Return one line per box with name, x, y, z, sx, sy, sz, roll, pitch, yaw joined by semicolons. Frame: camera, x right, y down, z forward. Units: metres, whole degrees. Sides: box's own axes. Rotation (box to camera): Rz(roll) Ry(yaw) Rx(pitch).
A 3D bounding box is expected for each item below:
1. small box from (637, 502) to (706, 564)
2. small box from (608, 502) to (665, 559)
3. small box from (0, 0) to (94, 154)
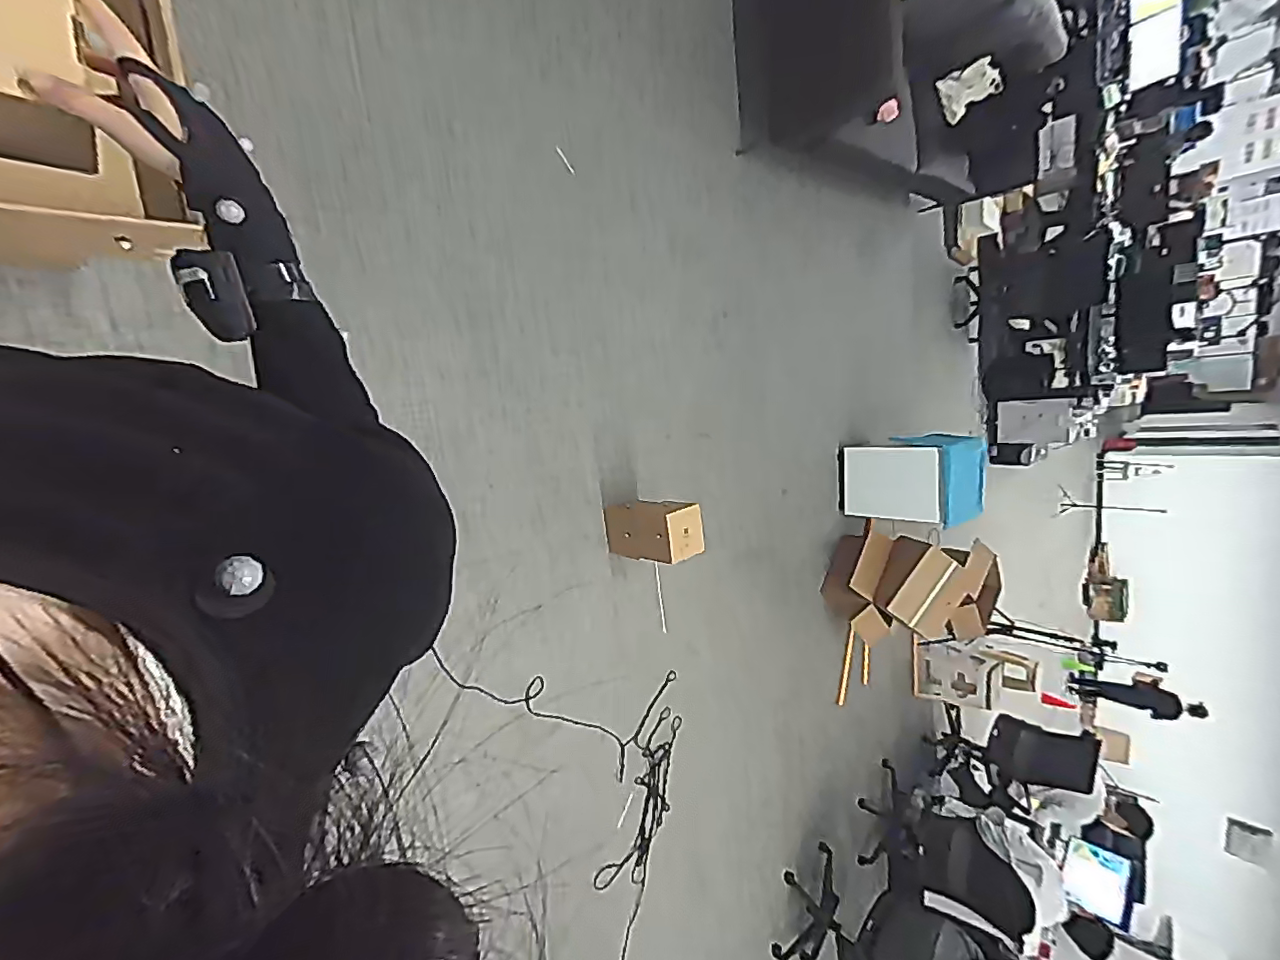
small box;0.106;0.175;1.872;0.168;0.176;0.179;-14;102;-40
small box;-0.003;0.179;1.996;0.168;0.176;0.179;-15;103;-41
small box;-0.486;-0.335;0.347;0.179;0.176;0.168;-9;105;-43
